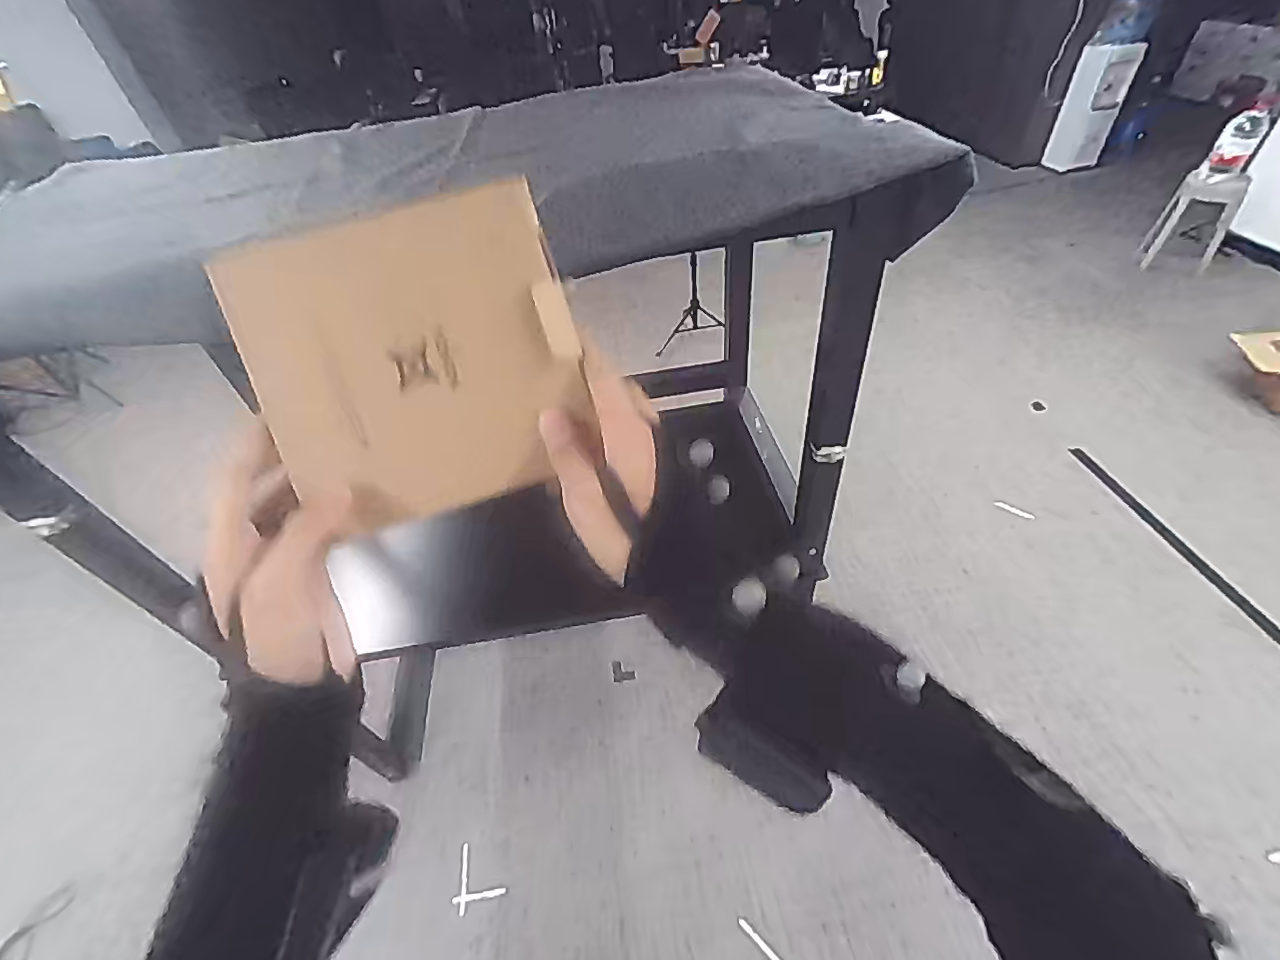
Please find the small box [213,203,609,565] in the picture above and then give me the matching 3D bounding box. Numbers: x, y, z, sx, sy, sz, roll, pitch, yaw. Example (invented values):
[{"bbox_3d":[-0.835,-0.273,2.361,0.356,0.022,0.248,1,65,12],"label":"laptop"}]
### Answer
[{"bbox_3d":[-0.133,-0.060,0.383,0.179,0.168,0.176,-19,5,-5],"label":"small box"}]
